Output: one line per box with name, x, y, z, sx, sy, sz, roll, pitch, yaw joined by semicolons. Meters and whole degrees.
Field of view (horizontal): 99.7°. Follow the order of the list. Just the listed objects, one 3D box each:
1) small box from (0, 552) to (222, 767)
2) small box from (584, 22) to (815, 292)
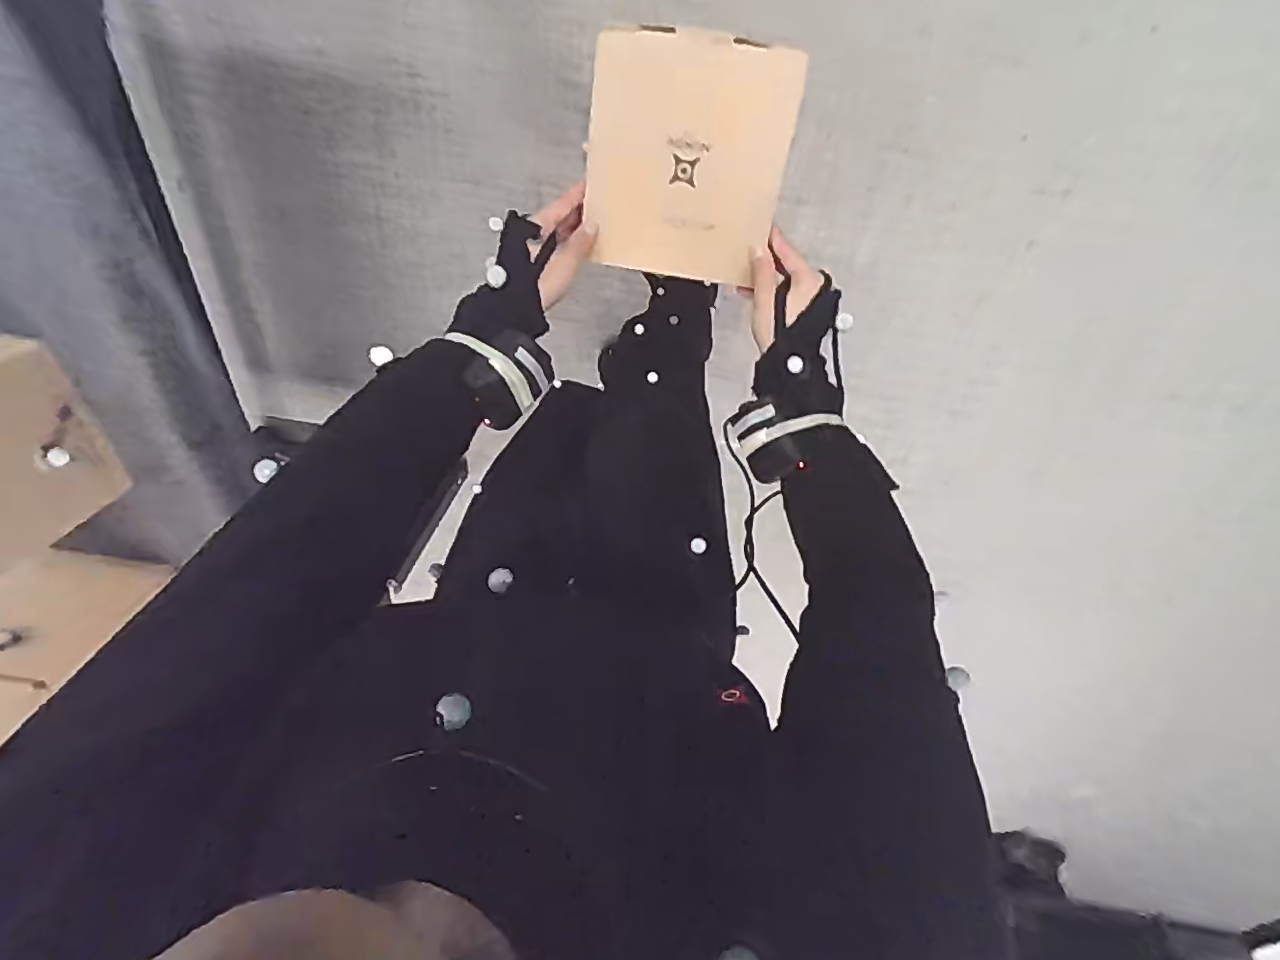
small box;-0.663;0.206;0.644;0.179;0.176;0.168;8;127;2
small box;0.048;-0.292;0.515;0.168;0.176;0.179;9;118;2
